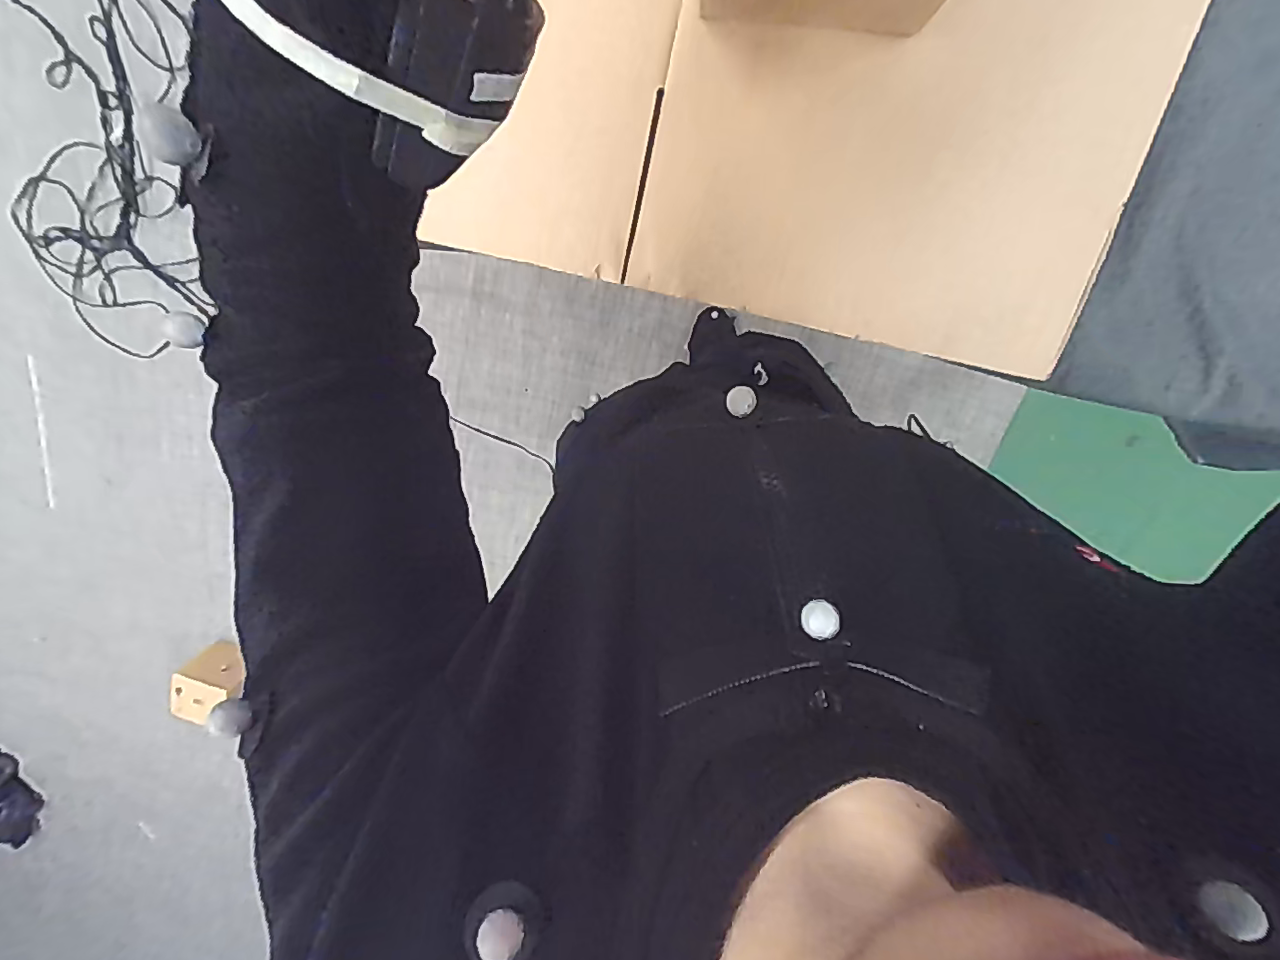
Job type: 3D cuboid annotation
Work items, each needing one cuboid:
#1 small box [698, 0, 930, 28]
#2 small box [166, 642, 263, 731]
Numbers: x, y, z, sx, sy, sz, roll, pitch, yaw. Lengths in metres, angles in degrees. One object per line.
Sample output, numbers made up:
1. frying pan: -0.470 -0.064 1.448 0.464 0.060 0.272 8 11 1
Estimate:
1. small box: 0.131 -0.408 0.319 0.179 0.176 0.168 6 105 2
2. small box: -1.306 0.631 1.670 0.179 0.176 0.168 18 109 -2
